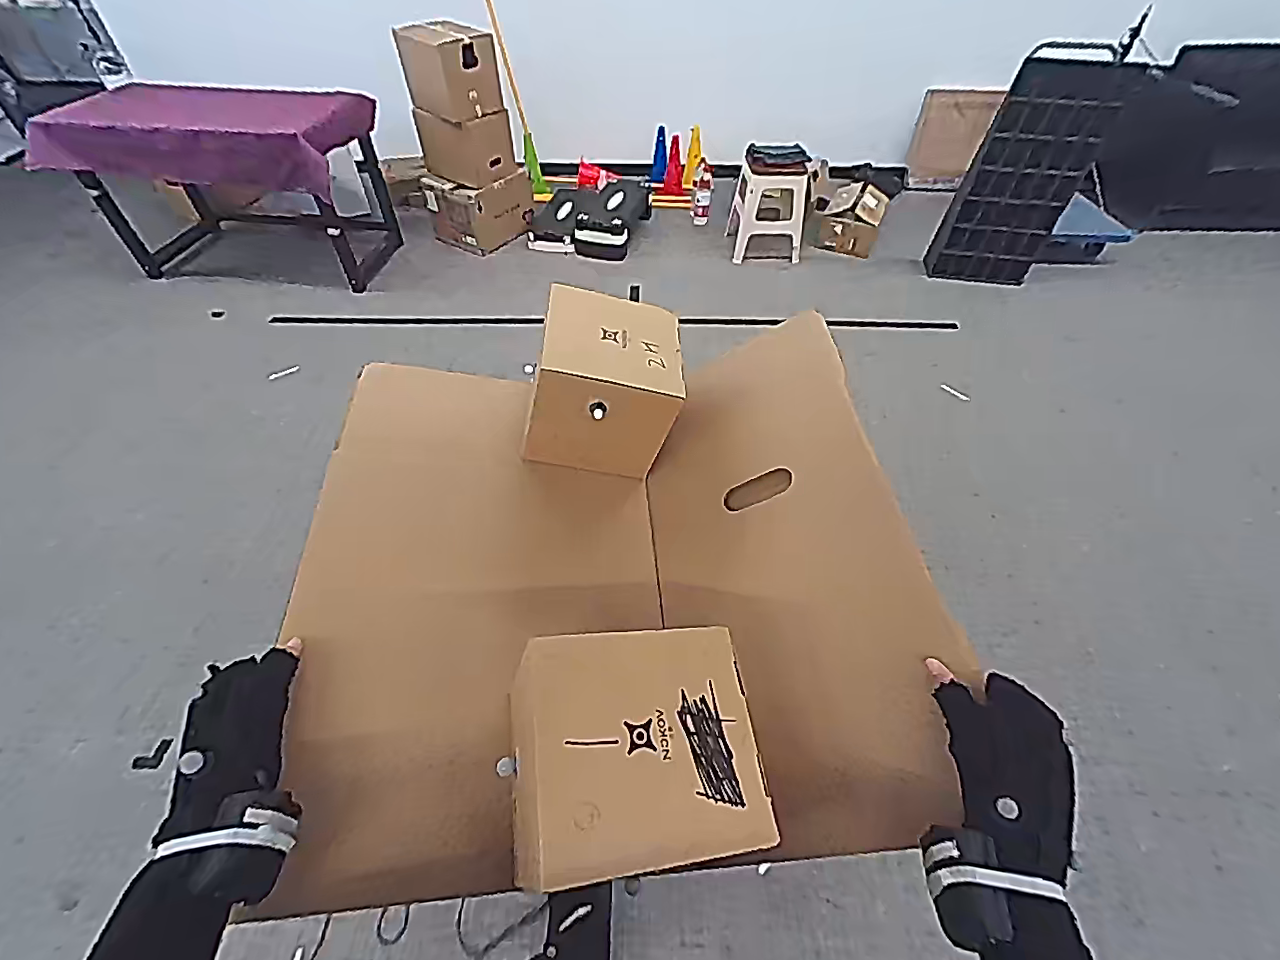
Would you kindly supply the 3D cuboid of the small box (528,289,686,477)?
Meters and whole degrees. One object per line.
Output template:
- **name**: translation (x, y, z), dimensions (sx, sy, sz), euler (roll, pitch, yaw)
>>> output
- **small box**: translation (-0.049, -0.124, 0.736), dimensions (0.179, 0.176, 0.168), euler (11, 52, -14)
